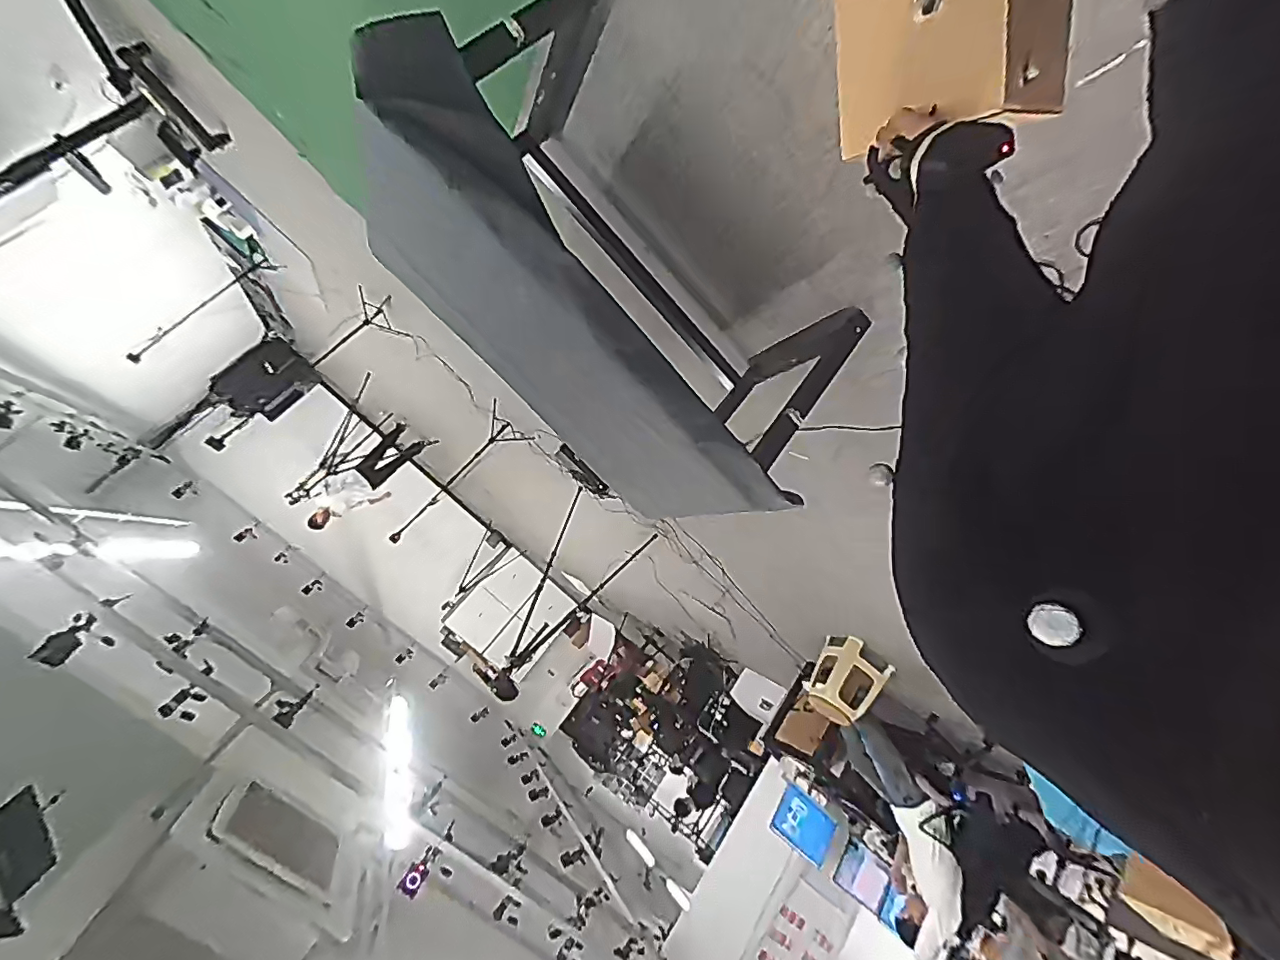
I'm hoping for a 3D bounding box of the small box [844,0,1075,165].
[{"bbox_3d":[0.339,-0.455,0.577,0.168,0.179,0.176,16,124,50],"label":"small box"}]
